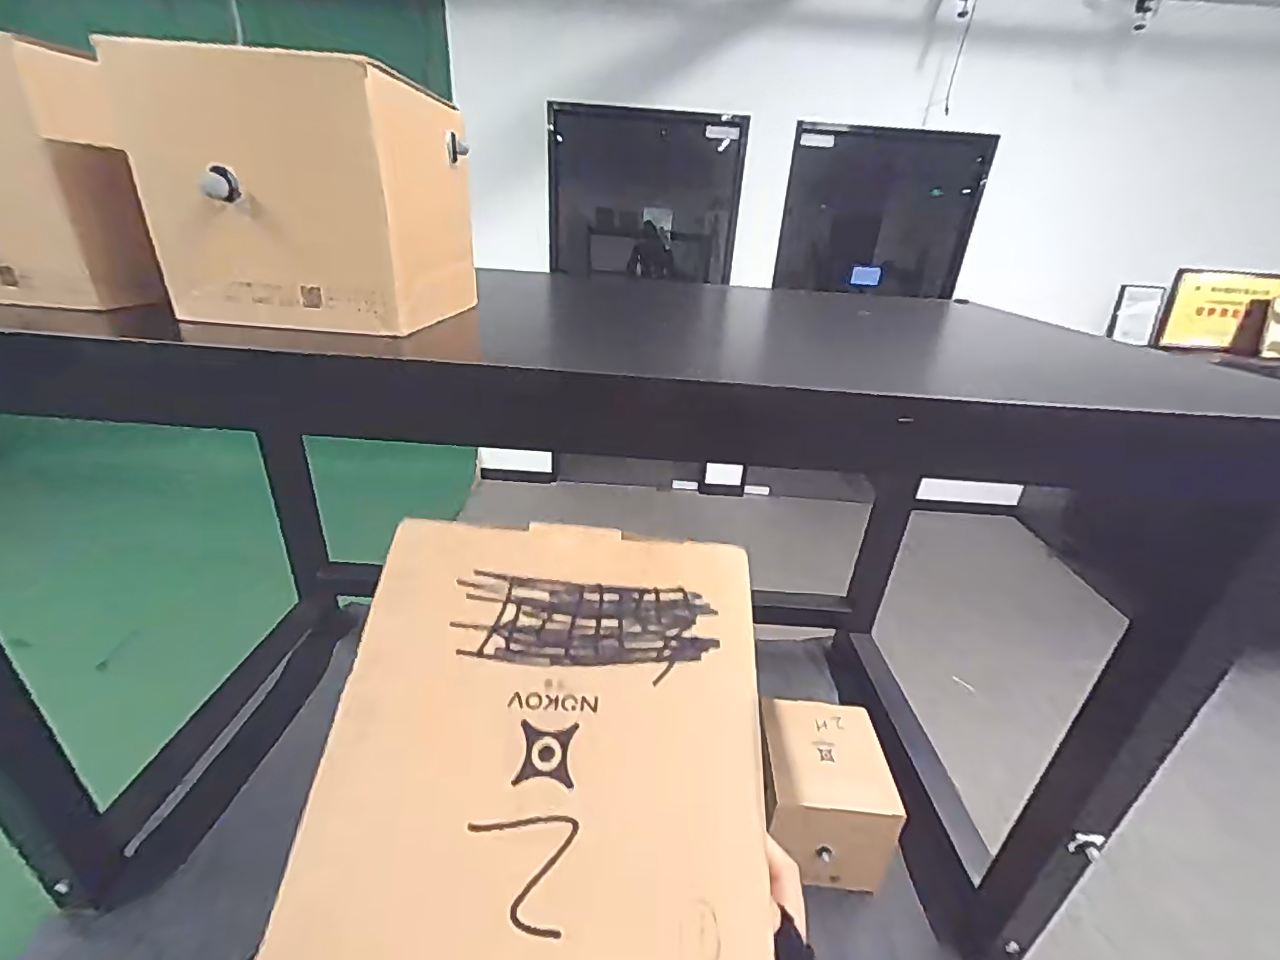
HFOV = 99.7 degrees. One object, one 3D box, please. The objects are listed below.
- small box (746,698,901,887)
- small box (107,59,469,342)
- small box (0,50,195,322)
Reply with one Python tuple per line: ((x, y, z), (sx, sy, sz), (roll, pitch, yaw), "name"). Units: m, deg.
((0.255, 0.456, 0.796), (0.168, 0.176, 0.179), (5, 24, 2), "small box")
((-0.247, -0.213, 0.438), (0.168, 0.176, 0.179), (4, 25, 1), "small box")
((-0.471, -0.237, 0.450), (0.168, 0.176, 0.179), (4, 26, 0), "small box")
